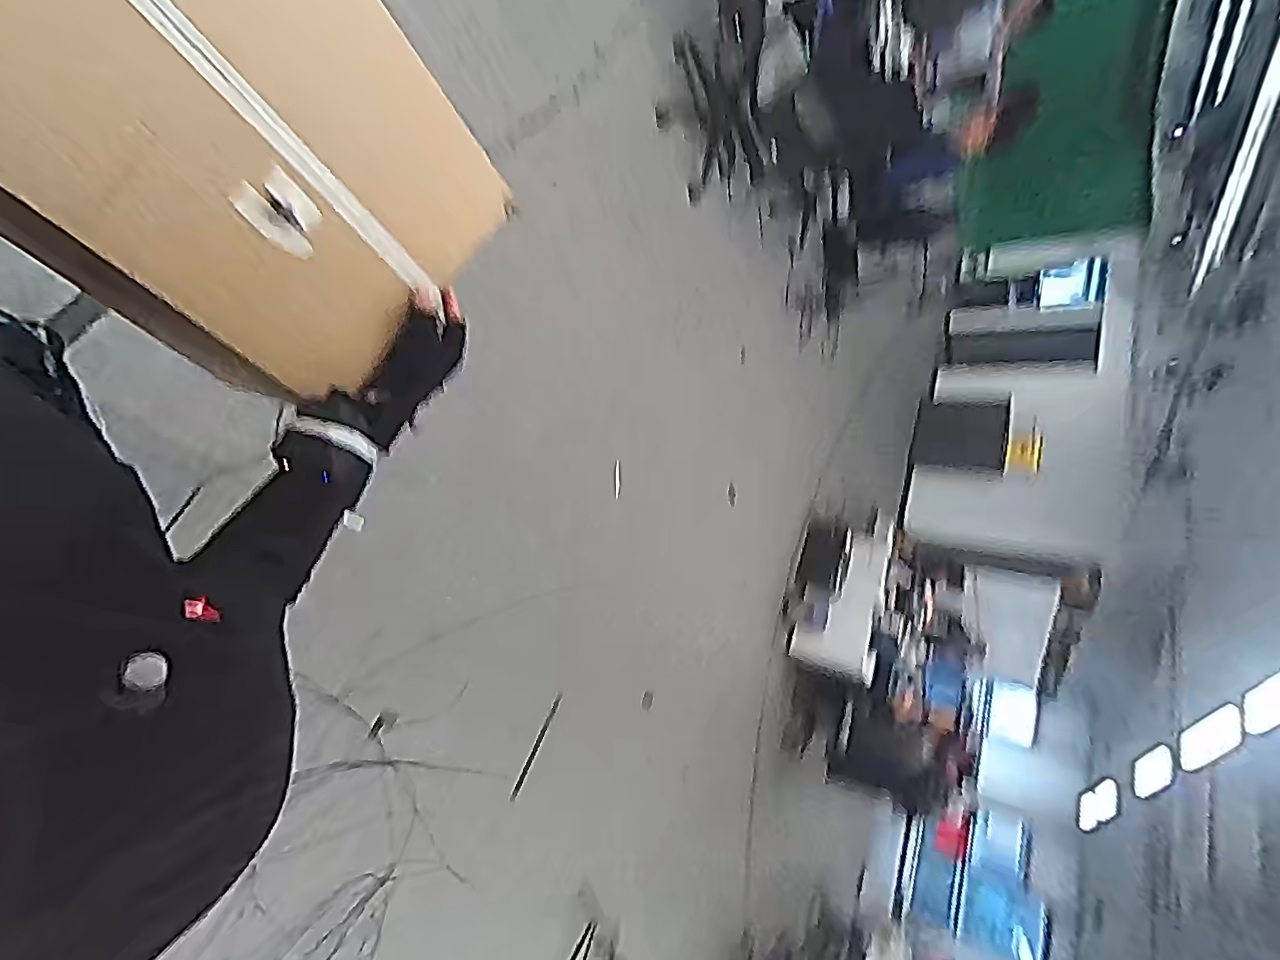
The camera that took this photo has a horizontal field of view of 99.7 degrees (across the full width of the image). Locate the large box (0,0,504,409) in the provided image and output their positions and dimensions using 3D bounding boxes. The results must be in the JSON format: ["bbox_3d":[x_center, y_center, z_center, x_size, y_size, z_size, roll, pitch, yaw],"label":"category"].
[{"bbox_3d":[-0.425,-0.321,0.510,0.320,0.320,0.408,-60,141,-18],"label":"large box"}]
